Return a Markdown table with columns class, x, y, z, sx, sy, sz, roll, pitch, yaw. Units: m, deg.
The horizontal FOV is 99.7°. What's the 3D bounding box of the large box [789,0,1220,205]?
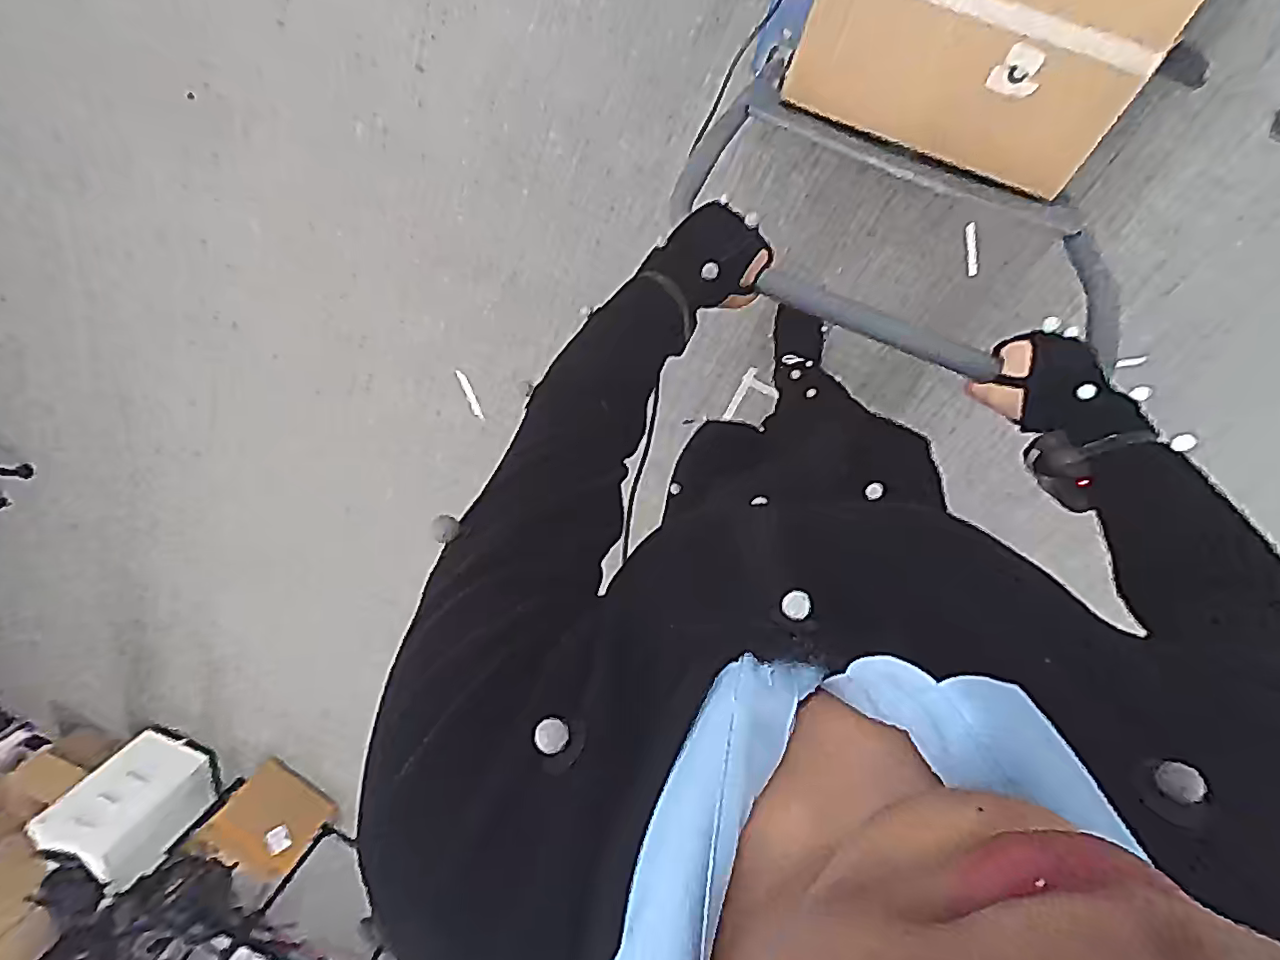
| class | x | y | z | sx | sy | sz | roll | pitch | yaw |
| --- | --- | --- | --- | --- | --- | --- | --- | --- | --- |
| large box | 0.464 | -0.639 | 0.738 | 0.408 | 0.320 | 0.320 | 22 | 136 | 3 |
